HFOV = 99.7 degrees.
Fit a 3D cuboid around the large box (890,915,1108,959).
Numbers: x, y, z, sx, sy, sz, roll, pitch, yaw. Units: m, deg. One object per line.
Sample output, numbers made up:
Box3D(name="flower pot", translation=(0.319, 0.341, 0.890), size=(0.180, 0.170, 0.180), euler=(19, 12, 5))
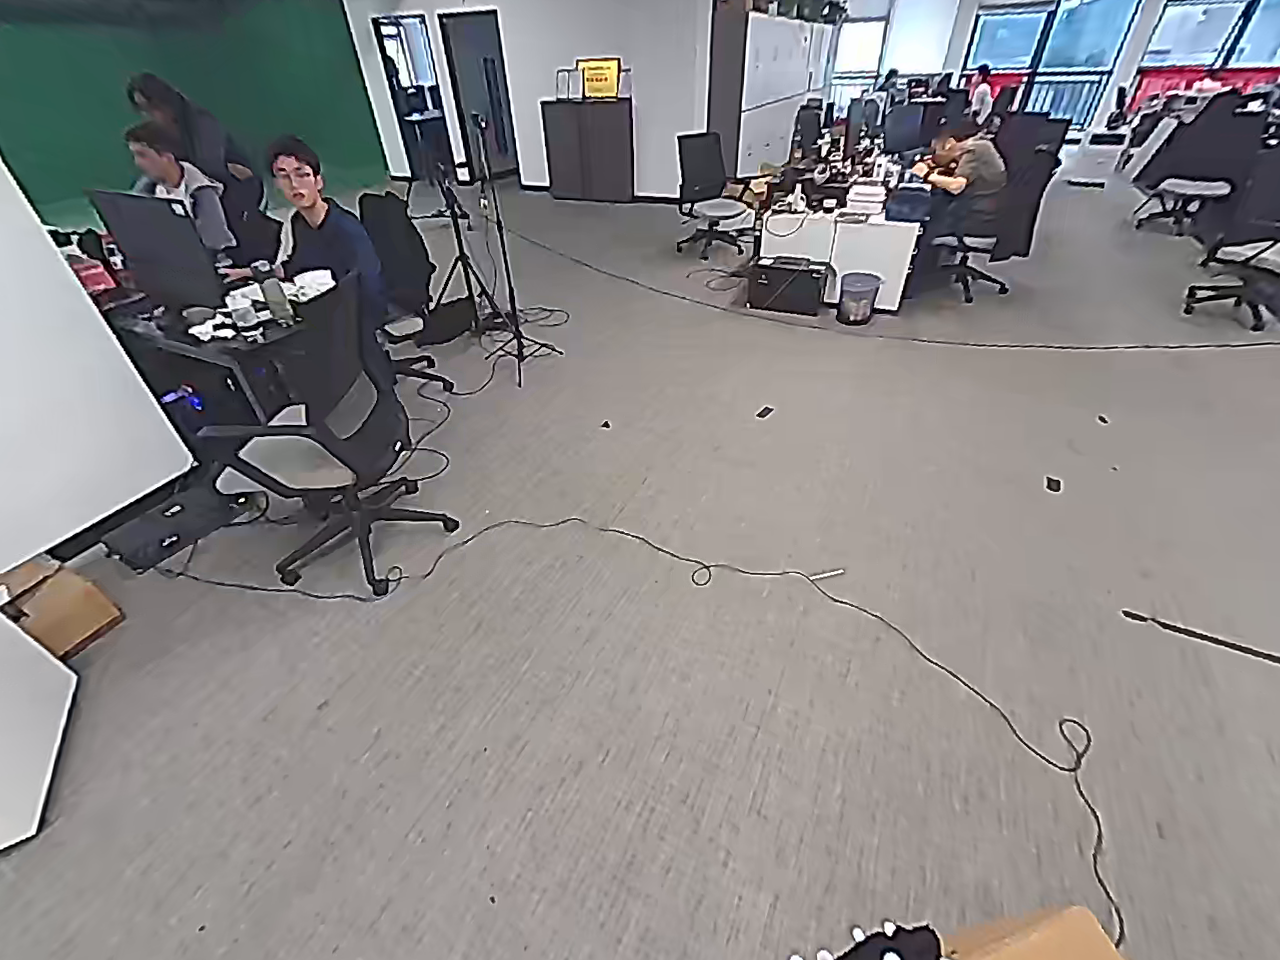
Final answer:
Box3D(name="large box", translation=(0.360, 0.707, 0.496), size=(0.320, 0.320, 0.408), euler=(-16, 49, -8))
